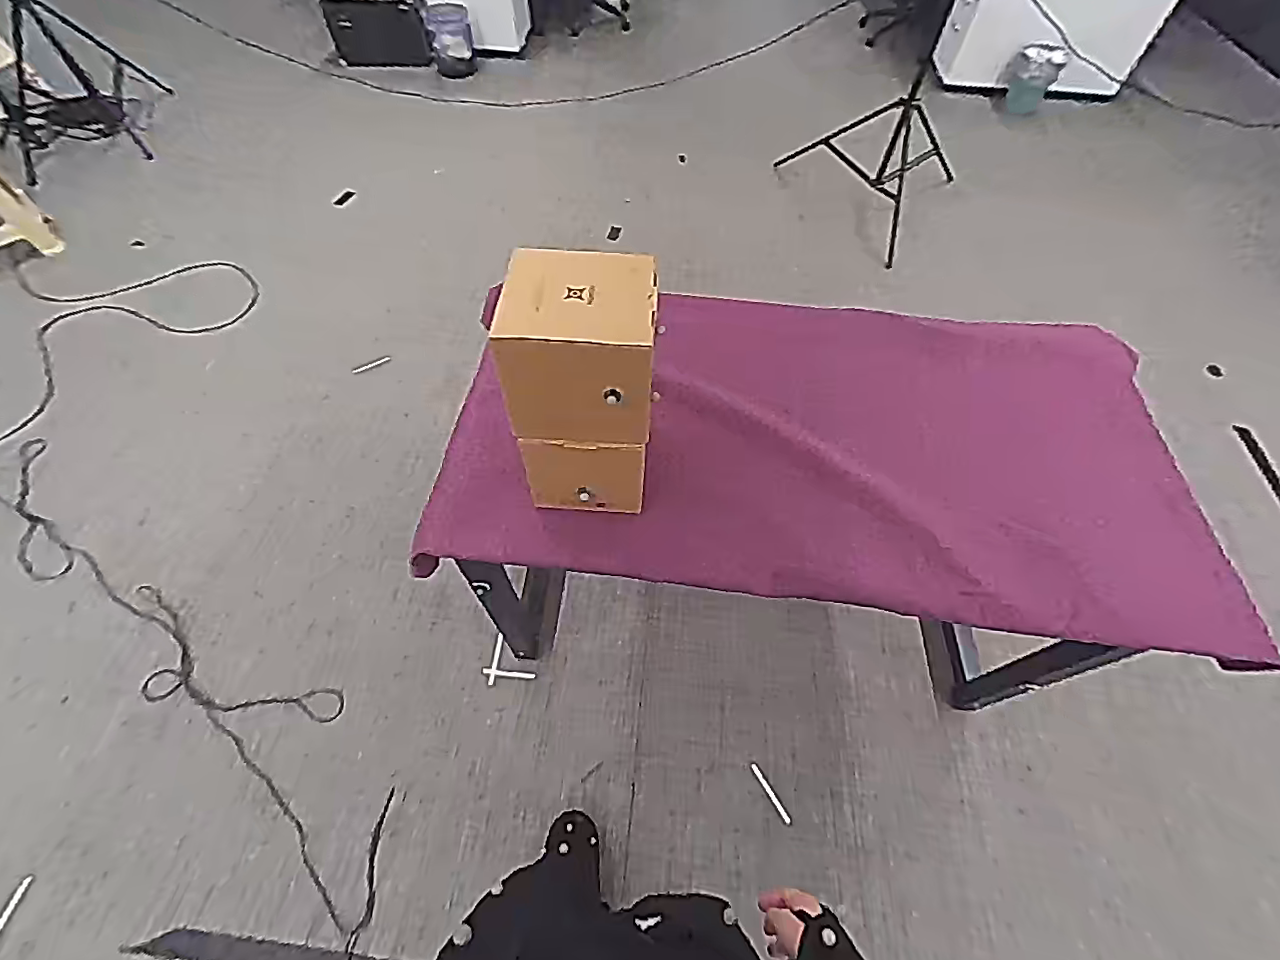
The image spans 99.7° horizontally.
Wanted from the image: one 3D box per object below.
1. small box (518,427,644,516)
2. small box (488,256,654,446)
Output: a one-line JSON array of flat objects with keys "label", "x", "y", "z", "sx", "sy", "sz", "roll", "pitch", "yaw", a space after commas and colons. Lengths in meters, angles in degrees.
[{"label": "small box", "x": -0.078, "y": -0.066, "z": 0.819, "sx": 0.168, "sy": 0.176, "sz": 0.179, "roll": 3, "pitch": 56, "yaw": 1}, {"label": "small box", "x": -0.075, "y": -0.157, "z": 0.684, "sx": 0.179, "sy": 0.176, "sz": 0.168, "roll": 2, "pitch": 55, "yaw": 0}]
